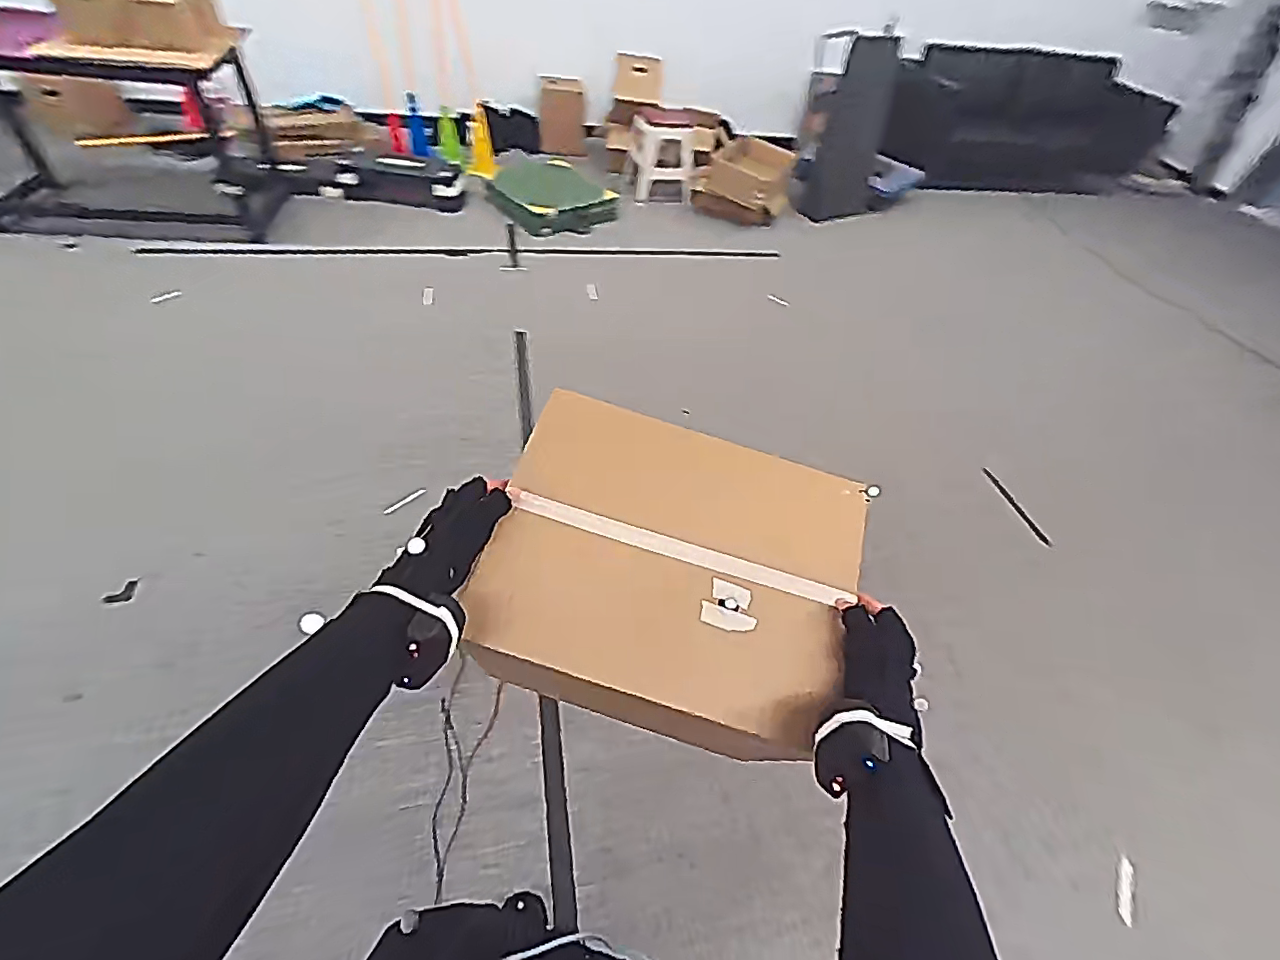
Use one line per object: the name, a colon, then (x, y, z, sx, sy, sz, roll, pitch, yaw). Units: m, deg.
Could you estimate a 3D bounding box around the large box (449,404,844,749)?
large box: (0.011, 0.150, 0.741, 0.408, 0.320, 0.320, 16, 63, 0)
